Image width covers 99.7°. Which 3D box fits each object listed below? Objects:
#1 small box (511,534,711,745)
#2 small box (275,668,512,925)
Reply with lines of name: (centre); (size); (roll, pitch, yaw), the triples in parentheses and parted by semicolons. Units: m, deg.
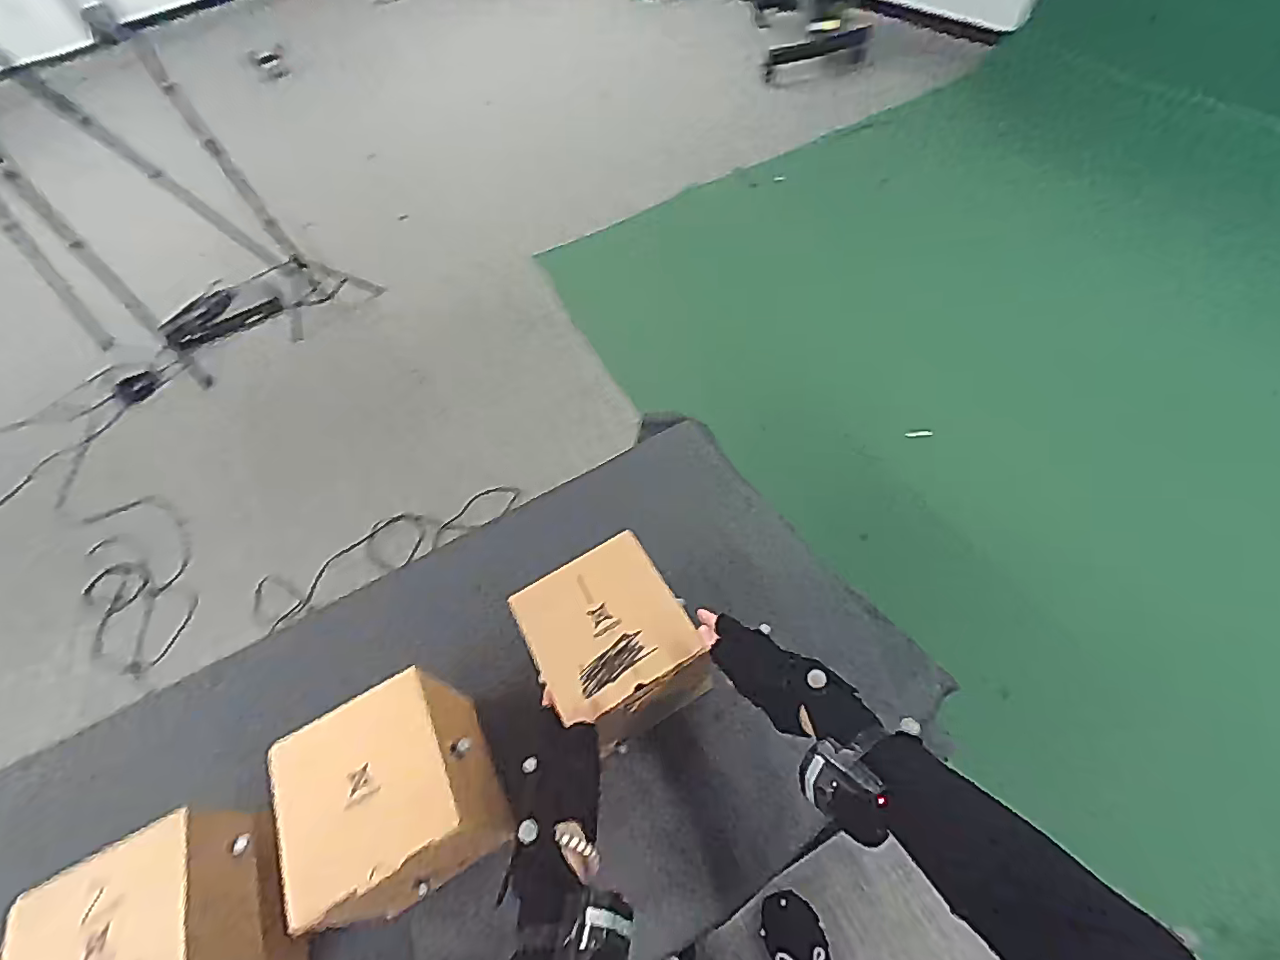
small box: (-0.026, 0.204, 0.668); (0.168, 0.176, 0.179); (-33, 59, -9)
small box: (-0.267, 0.349, 0.605); (0.168, 0.176, 0.179); (-28, 56, -11)
